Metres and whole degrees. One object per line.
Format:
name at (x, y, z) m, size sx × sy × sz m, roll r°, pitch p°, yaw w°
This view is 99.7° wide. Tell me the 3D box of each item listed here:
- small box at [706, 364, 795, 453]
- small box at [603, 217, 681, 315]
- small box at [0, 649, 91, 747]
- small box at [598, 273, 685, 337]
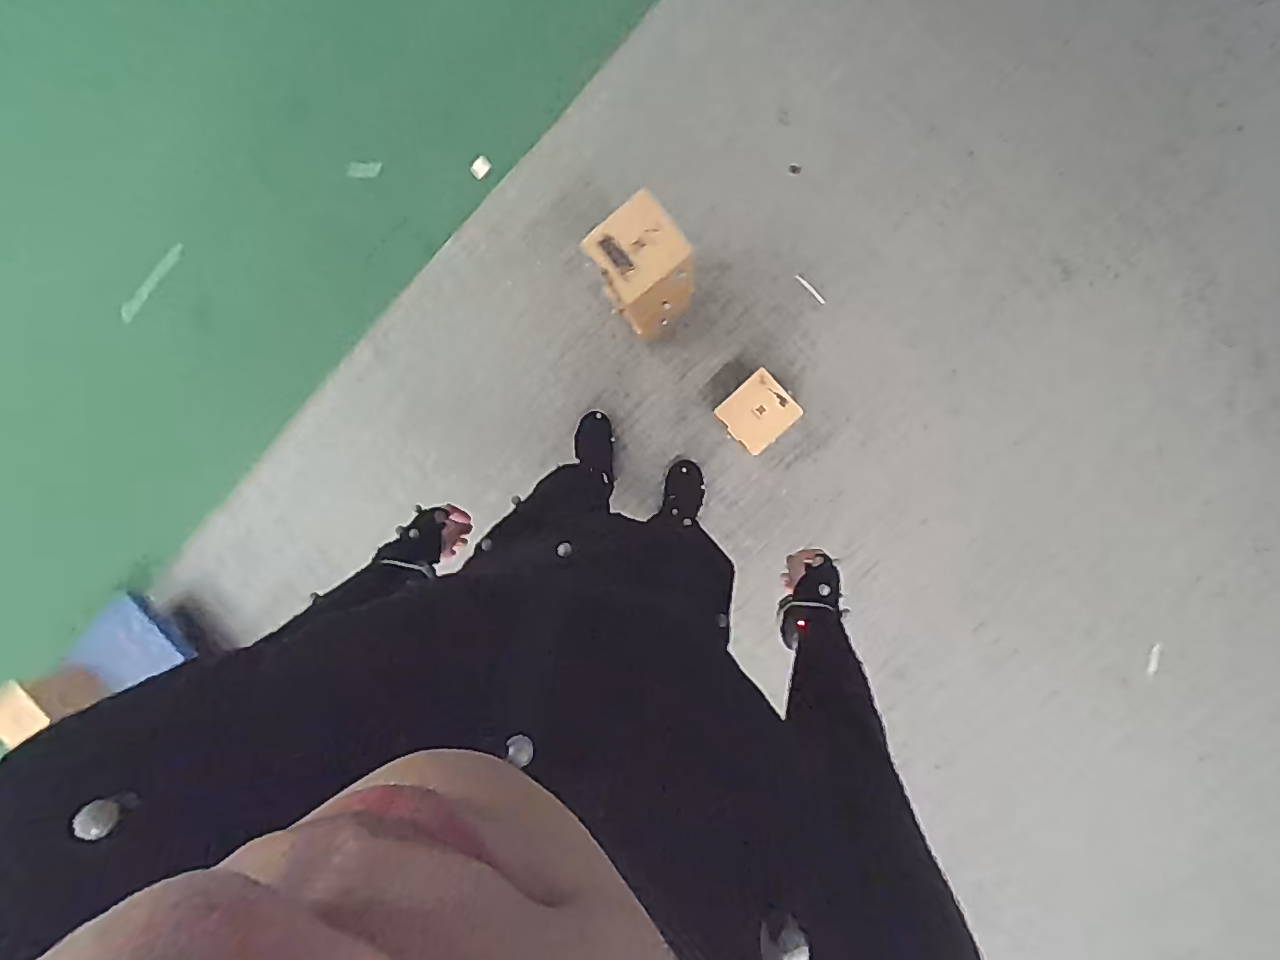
small box at (0.301, -0.193, 1.495) m, size 0.179 × 0.176 × 0.168 m, roll -40°, pitch 90°, yaw 9°
small box at (0.009, -0.521, 1.339) m, size 0.168 × 0.176 × 0.179 m, roll -6°, pitch 94°, yaw 8°
small box at (-1.816, 0.639, 1.606) m, size 0.168 × 0.176 × 0.179 m, roll -41°, pitch 91°, yaw 7°
small box at (0.011, -0.521, 1.495) m, size 0.179 × 0.176 × 0.168 m, roll -38°, pitch 91°, yaw 7°
